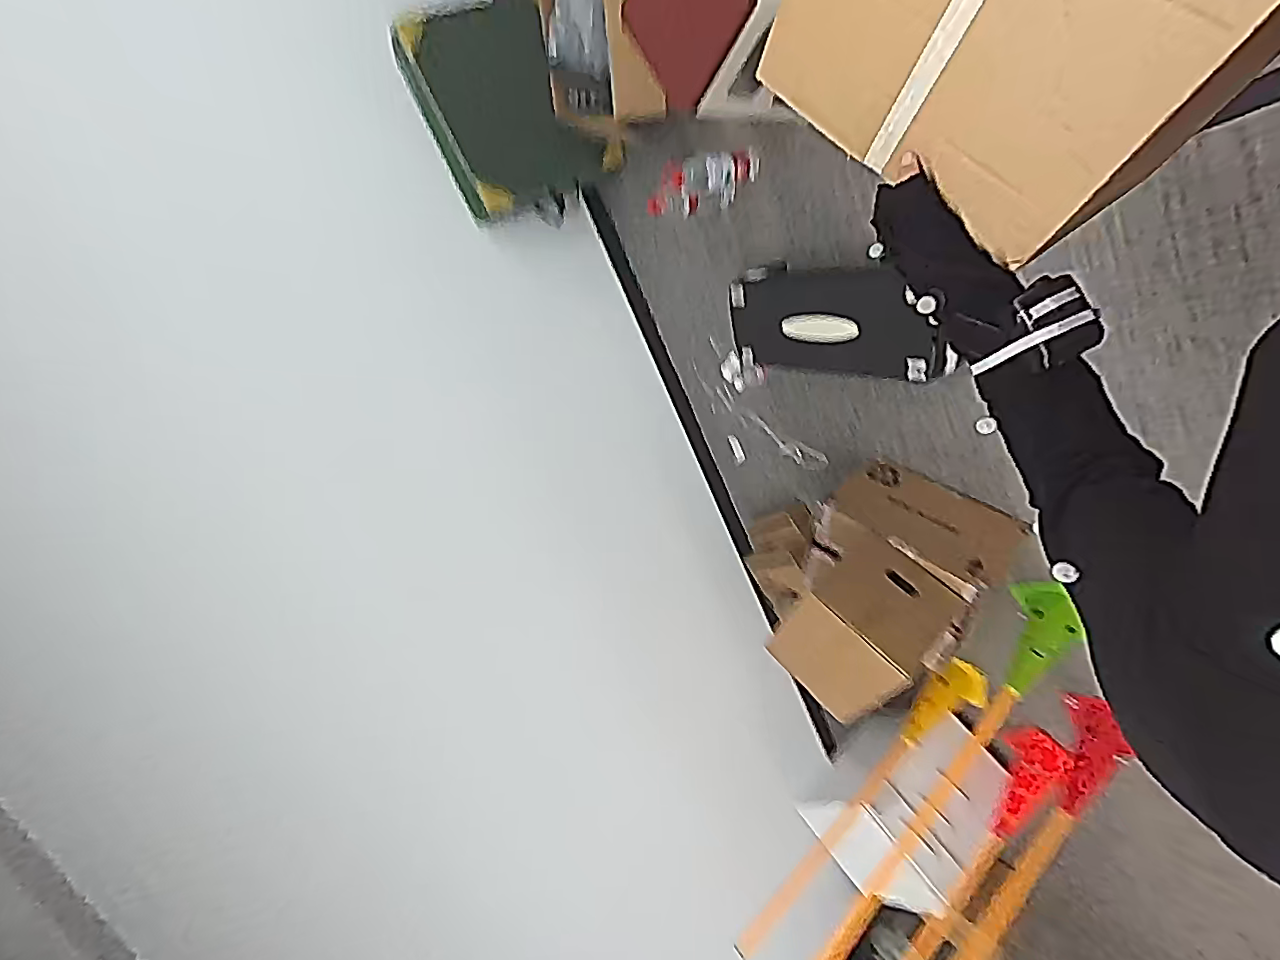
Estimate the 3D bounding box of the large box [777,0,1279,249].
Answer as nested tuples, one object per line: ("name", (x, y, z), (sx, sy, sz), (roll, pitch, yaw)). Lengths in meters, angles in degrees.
("large box", (0.376, -0.461, 0.382), (0.320, 0.320, 0.408), (51, 153, 15))
